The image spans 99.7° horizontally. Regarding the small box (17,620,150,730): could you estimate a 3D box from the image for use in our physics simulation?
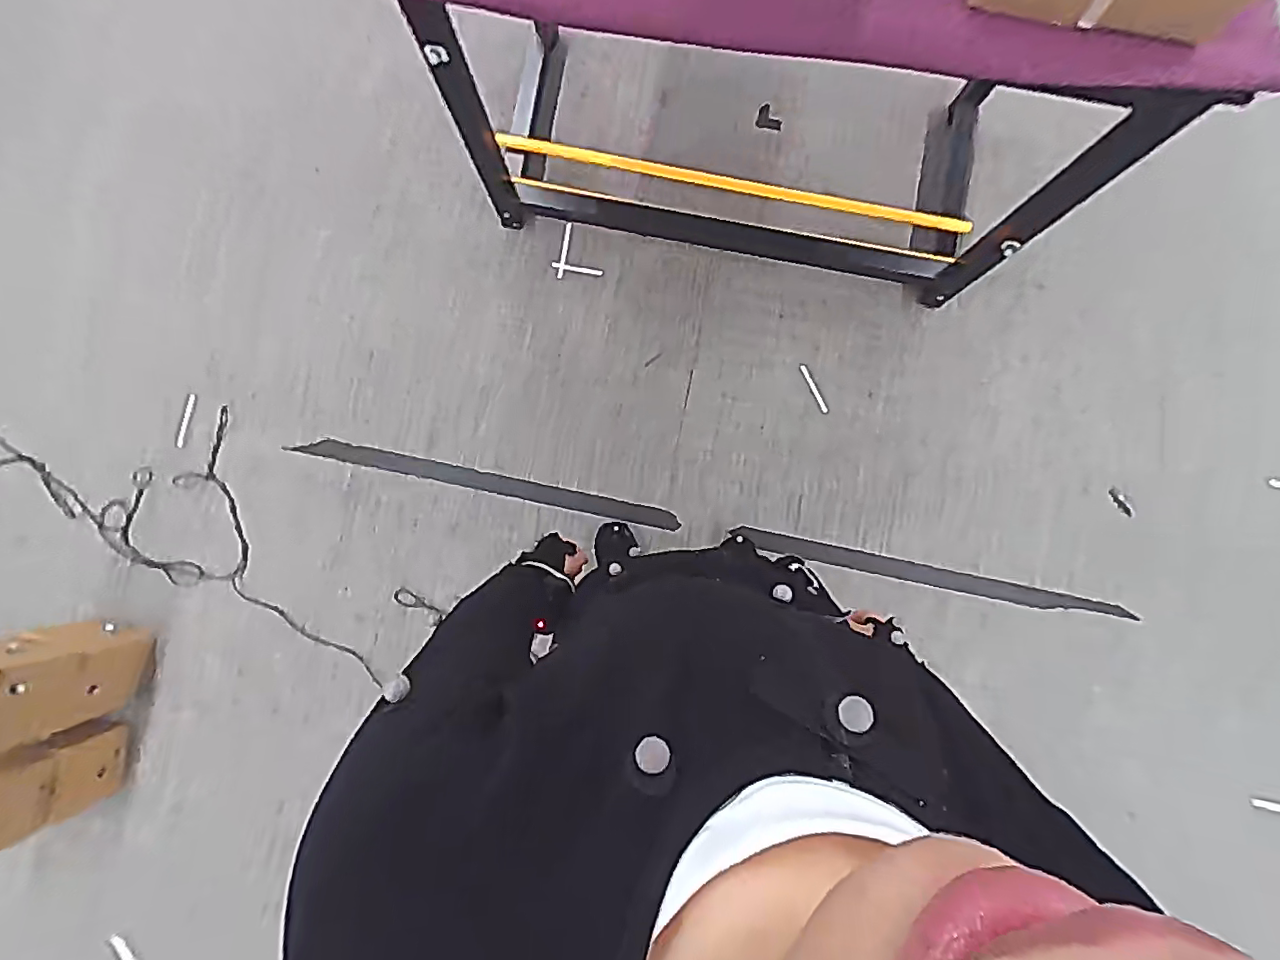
[{"bbox_3d":[-1.312,0.447,1.263,0.168,0.176,0.179,17,86,1],"label":"small box"}]

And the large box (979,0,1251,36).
[{"bbox_3d":[0.613,-0.795,0.570,0.320,0.320,0.408,10,84,0],"label":"large box"}]

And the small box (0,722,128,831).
[{"bbox_3d":[-1.357,0.676,1.250,0.179,0.176,0.168,4,86,-1],"label":"small box"}]

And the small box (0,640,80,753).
[{"bbox_3d":[-1.311,0.437,1.098,0.168,0.176,0.179,10,87,1],"label":"small box"}]
